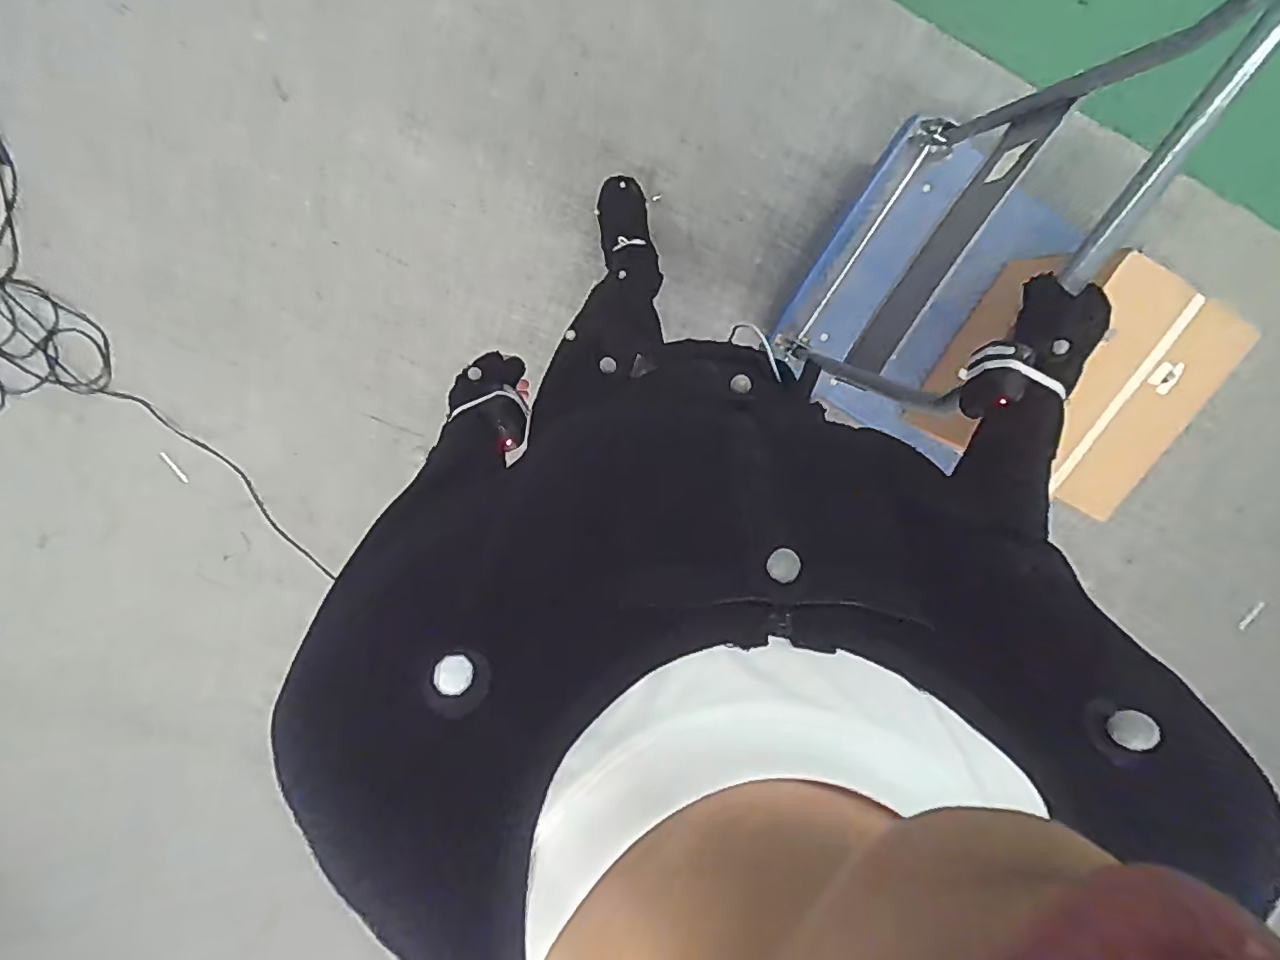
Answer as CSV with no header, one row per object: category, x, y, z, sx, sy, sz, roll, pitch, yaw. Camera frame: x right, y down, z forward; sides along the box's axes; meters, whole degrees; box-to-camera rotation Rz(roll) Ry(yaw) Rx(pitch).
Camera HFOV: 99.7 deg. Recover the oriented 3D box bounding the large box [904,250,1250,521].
large box,0.844,-0.194,1.115,0.320,0.320,0.408,26,105,-11
